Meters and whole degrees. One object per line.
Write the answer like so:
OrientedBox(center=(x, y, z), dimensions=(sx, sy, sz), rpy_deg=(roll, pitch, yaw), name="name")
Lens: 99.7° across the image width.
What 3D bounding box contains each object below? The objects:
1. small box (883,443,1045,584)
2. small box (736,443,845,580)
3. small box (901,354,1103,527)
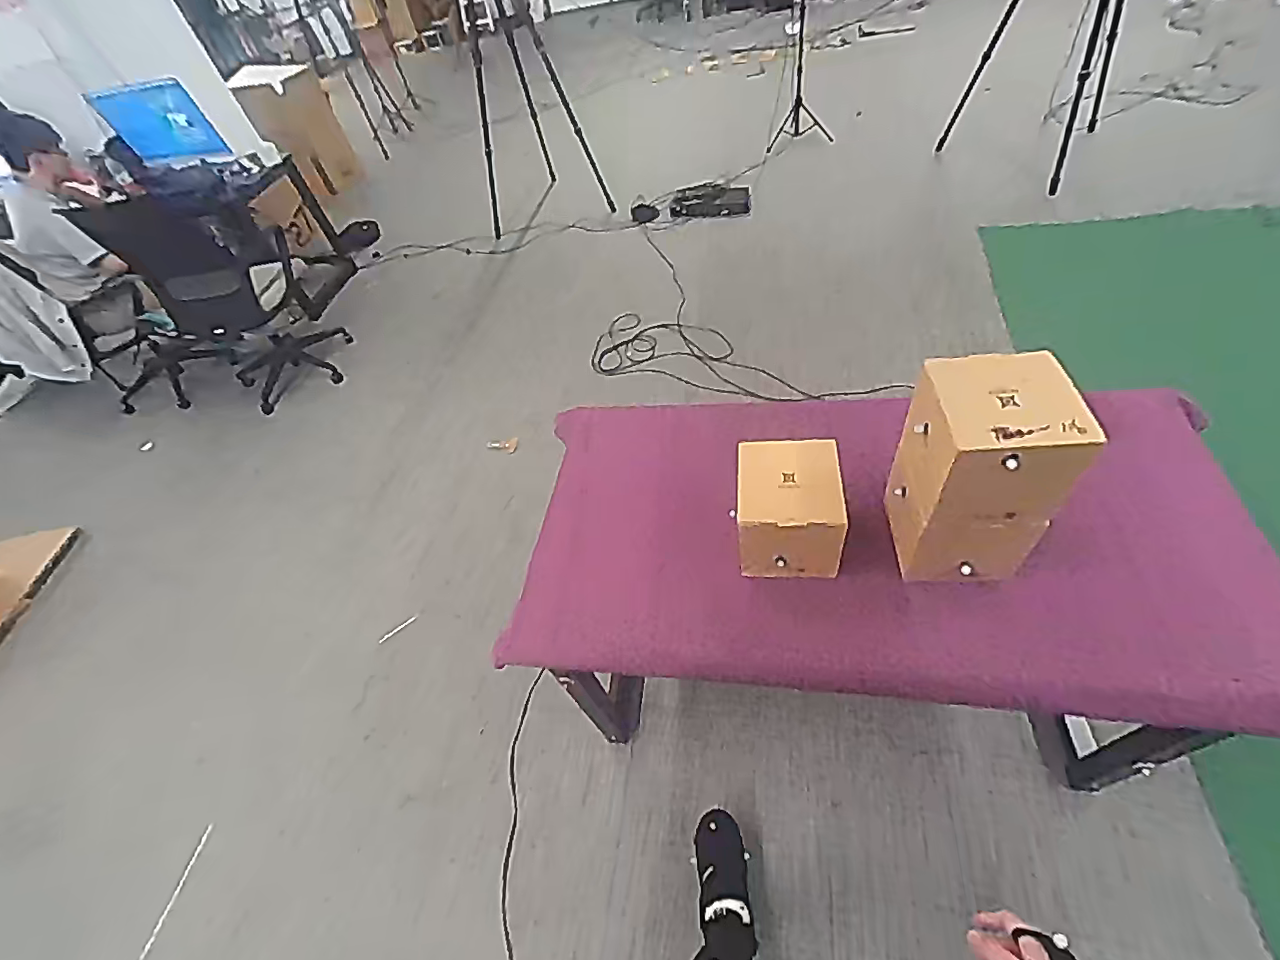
OrientedBox(center=(0.511, 0.052, 0.886), dimensions=(0.168, 0.176, 0.179), rpy_deg=(-2, 51, 11), name="small box")
OrientedBox(center=(0.252, 0.054, 0.943), dimensions=(0.168, 0.176, 0.179), rpy_deg=(-1, 51, 11), name="small box")
OrientedBox(center=(0.485, -0.052, 0.762), dimensions=(0.168, 0.176, 0.179), rpy_deg=(-3, 49, 10), name="small box")
